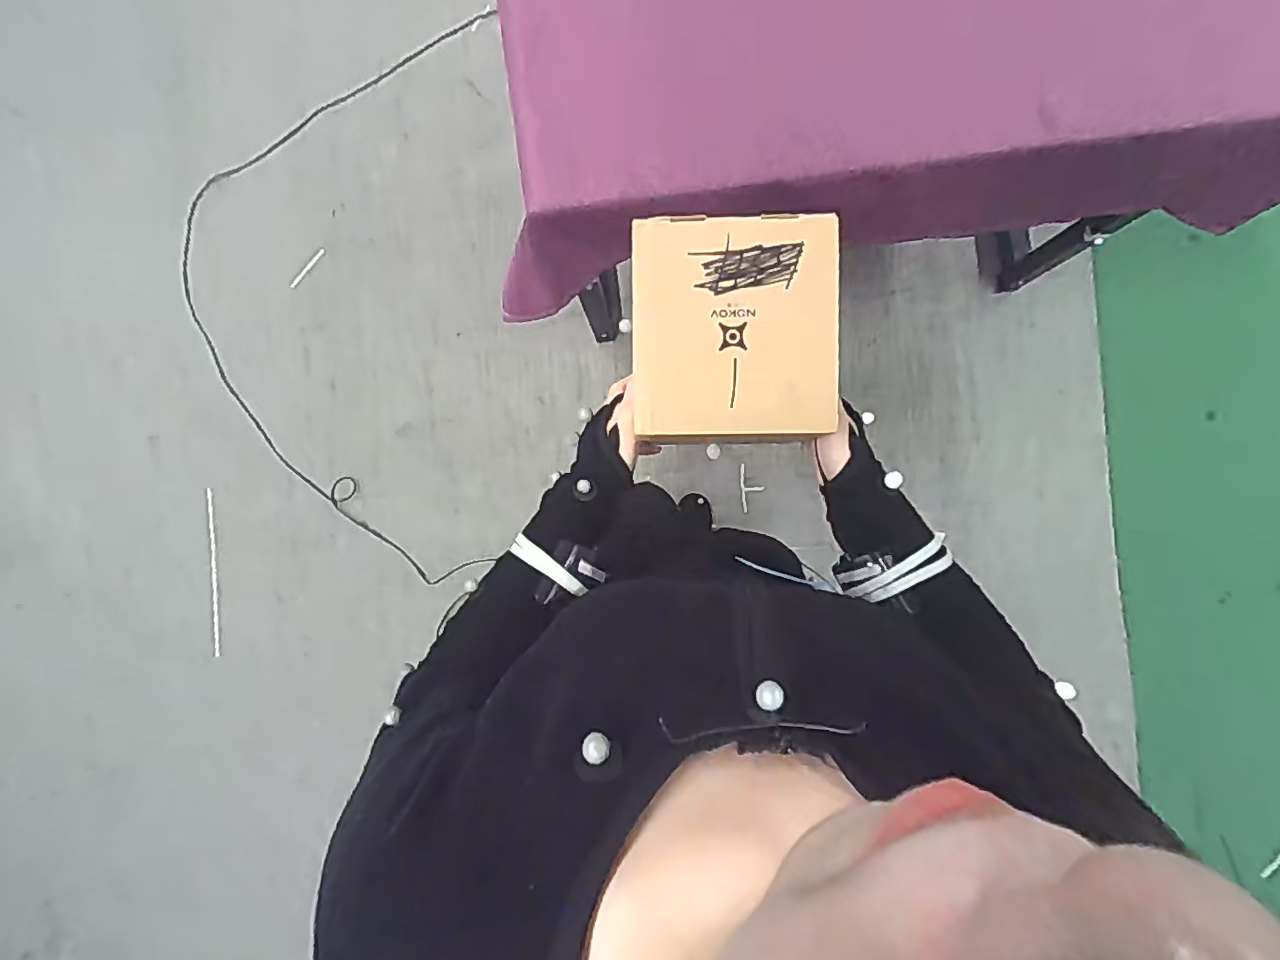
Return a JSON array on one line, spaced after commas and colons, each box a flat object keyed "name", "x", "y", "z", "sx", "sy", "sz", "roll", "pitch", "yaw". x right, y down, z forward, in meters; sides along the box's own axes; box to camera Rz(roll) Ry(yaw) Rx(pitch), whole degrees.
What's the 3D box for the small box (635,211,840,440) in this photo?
[{"name": "small box", "x": 0.080, "y": -0.130, "z": 0.514, "sx": 0.168, "sy": 0.176, "sz": 0.179, "roll": 0, "pitch": 92, "yaw": 3}]
